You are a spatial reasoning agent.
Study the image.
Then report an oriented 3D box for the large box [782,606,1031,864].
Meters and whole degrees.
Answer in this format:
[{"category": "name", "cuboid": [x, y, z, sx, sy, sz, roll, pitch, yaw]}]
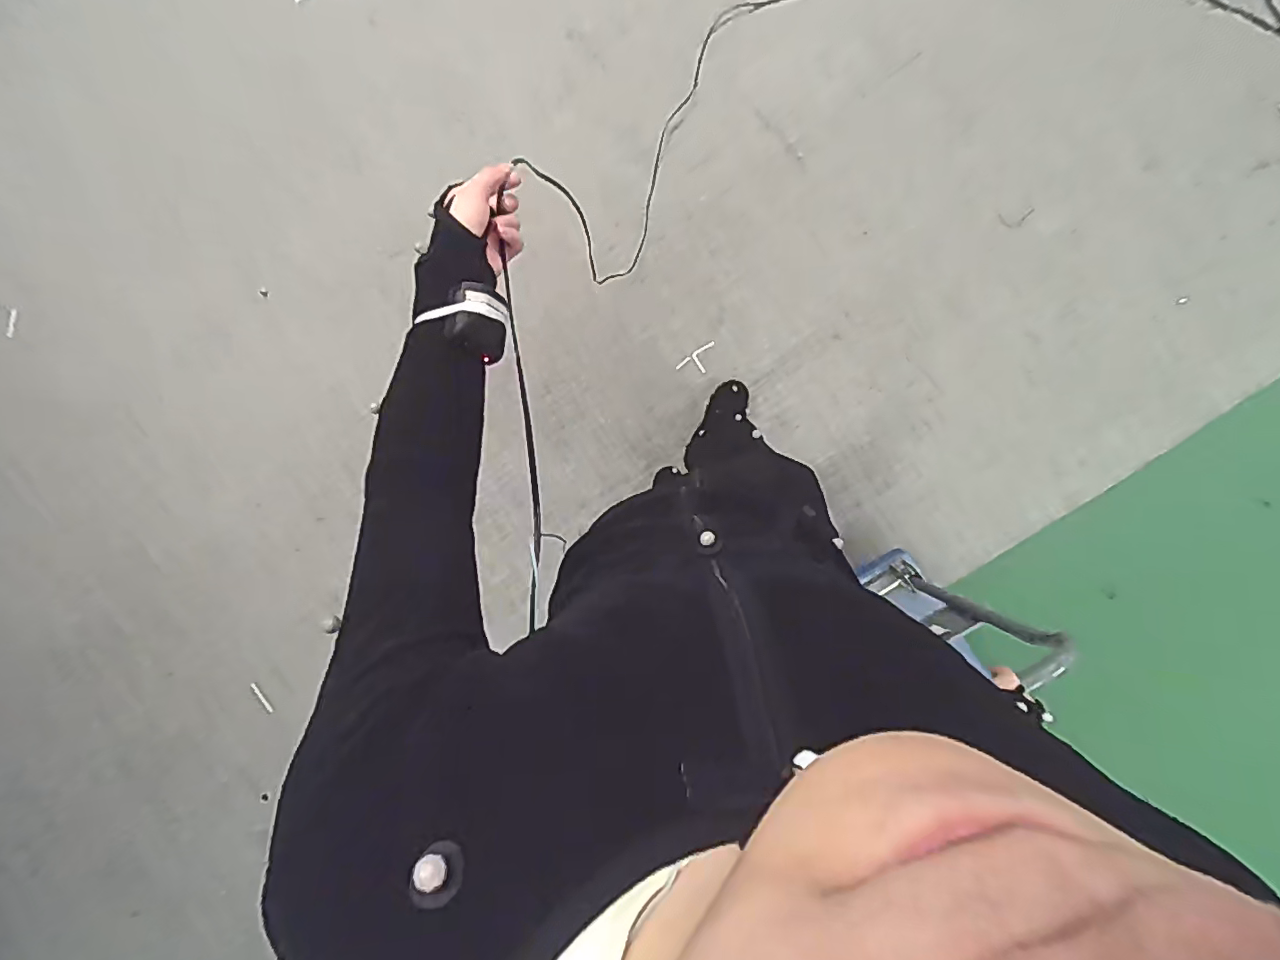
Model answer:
[{"category": "large box", "cuboid": [0.612, 0.587, 1.315, 0.320, 0.320, 0.408, -33, 92, 4]}]
